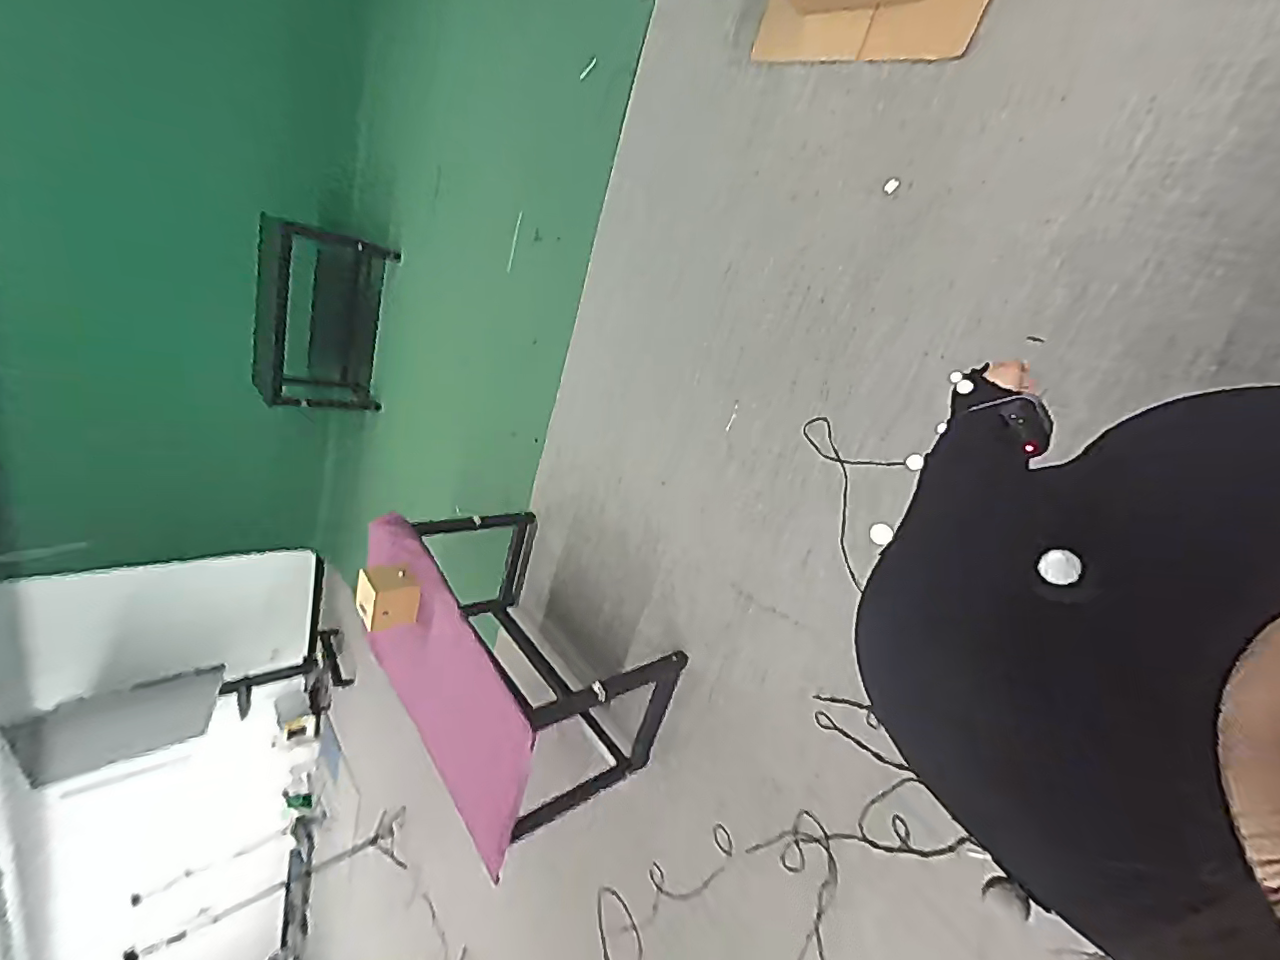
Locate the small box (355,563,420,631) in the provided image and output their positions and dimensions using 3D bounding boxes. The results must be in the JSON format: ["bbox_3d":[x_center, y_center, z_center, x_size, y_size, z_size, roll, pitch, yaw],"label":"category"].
[{"bbox_3d":[-0.941,0.431,2.017,0.168,0.176,0.179,35,115,38],"label":"small box"}]
